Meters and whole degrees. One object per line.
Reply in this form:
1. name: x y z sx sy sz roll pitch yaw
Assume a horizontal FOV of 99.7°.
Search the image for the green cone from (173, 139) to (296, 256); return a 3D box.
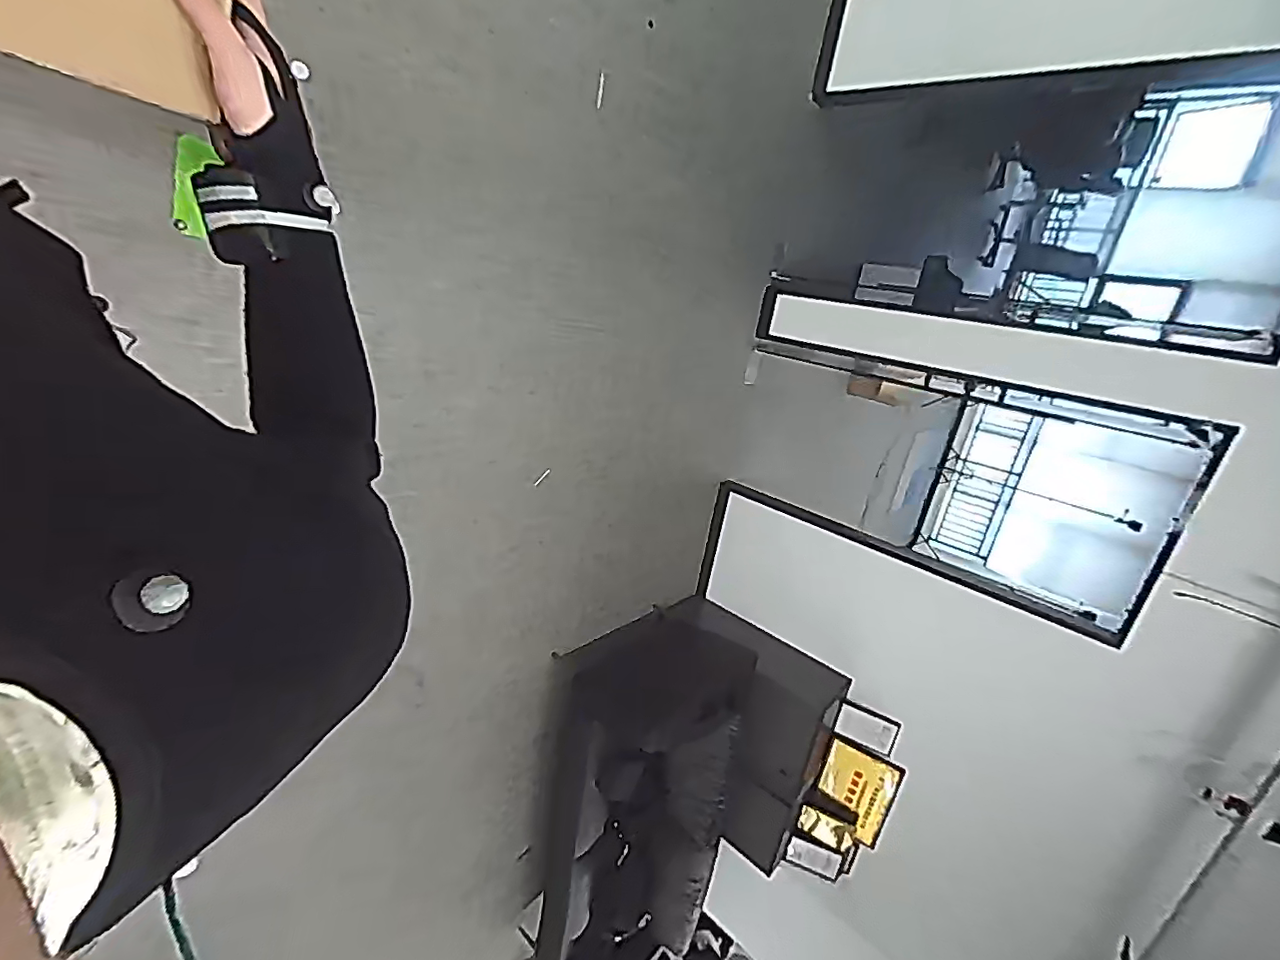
1. green cone: -0.806 -0.583 1.134 0.200 0.368 0.202 -4 111 -51
